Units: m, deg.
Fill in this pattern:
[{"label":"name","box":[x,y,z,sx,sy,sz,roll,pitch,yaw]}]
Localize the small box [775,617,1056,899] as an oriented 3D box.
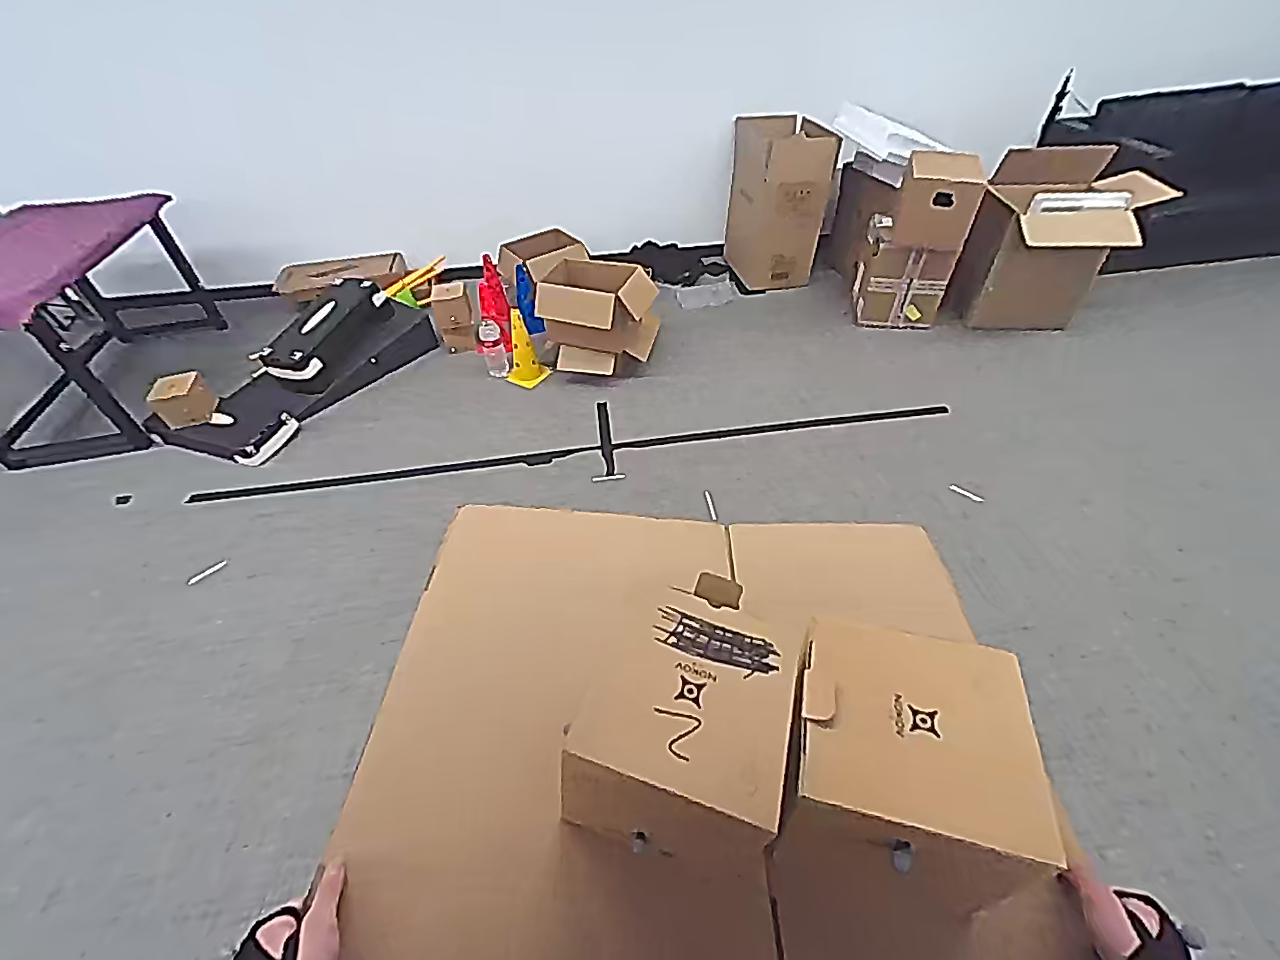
[{"label":"small box","box":[0.231,0.257,0.502,0.179,0.176,0.168,9,44,14]}]
